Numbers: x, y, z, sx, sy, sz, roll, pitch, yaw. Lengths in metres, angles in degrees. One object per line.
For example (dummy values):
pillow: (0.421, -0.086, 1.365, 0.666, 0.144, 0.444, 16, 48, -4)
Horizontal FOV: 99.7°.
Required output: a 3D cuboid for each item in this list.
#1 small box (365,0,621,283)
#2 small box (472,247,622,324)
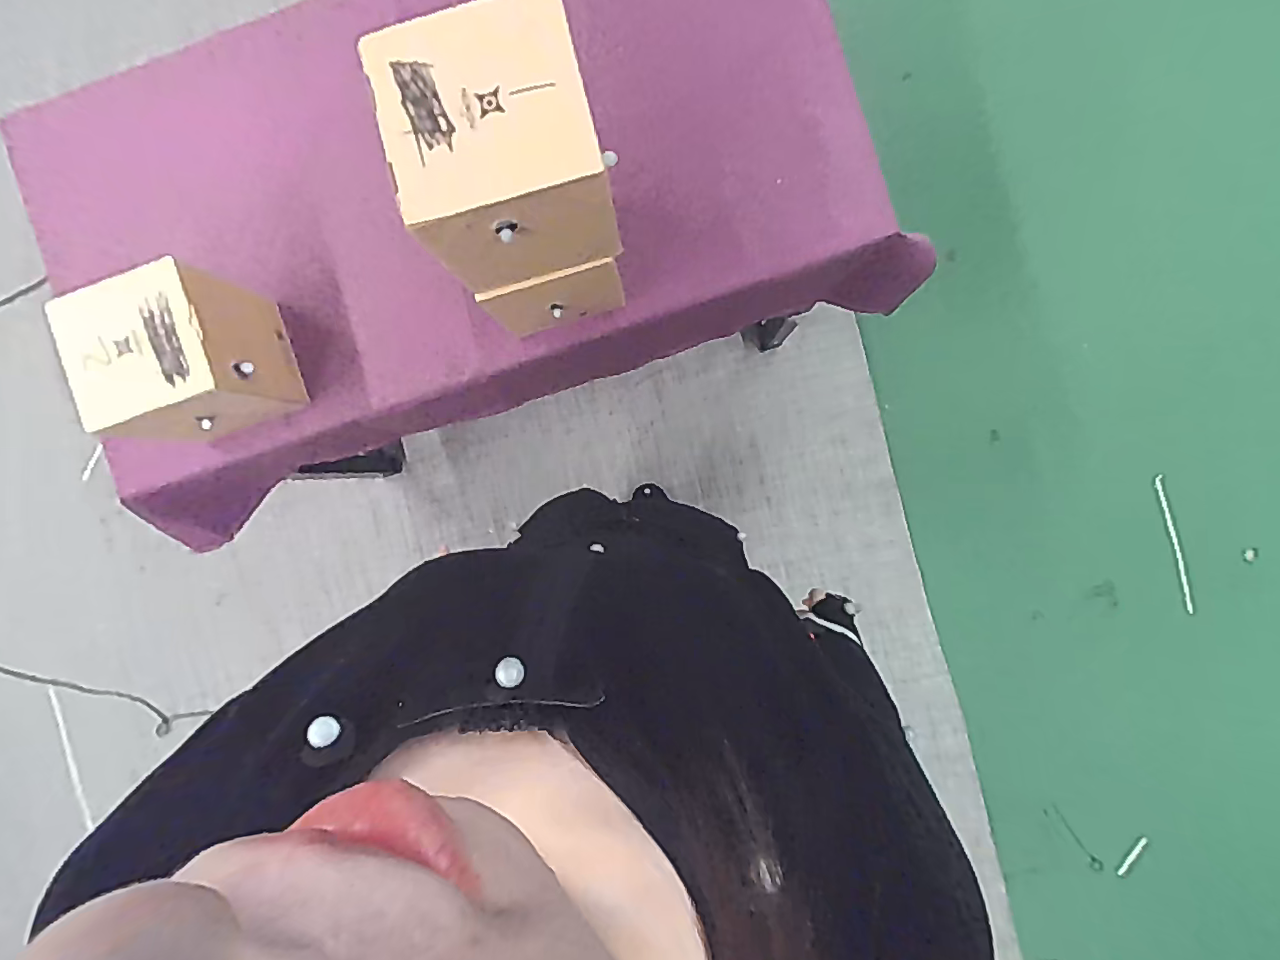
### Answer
small box: (-0.125, -0.314, 0.527, 0.179, 0.176, 0.168, -14, 91, 2)
small box: (-0.124, -0.312, 0.693, 0.168, 0.176, 0.179, -15, 90, 3)
